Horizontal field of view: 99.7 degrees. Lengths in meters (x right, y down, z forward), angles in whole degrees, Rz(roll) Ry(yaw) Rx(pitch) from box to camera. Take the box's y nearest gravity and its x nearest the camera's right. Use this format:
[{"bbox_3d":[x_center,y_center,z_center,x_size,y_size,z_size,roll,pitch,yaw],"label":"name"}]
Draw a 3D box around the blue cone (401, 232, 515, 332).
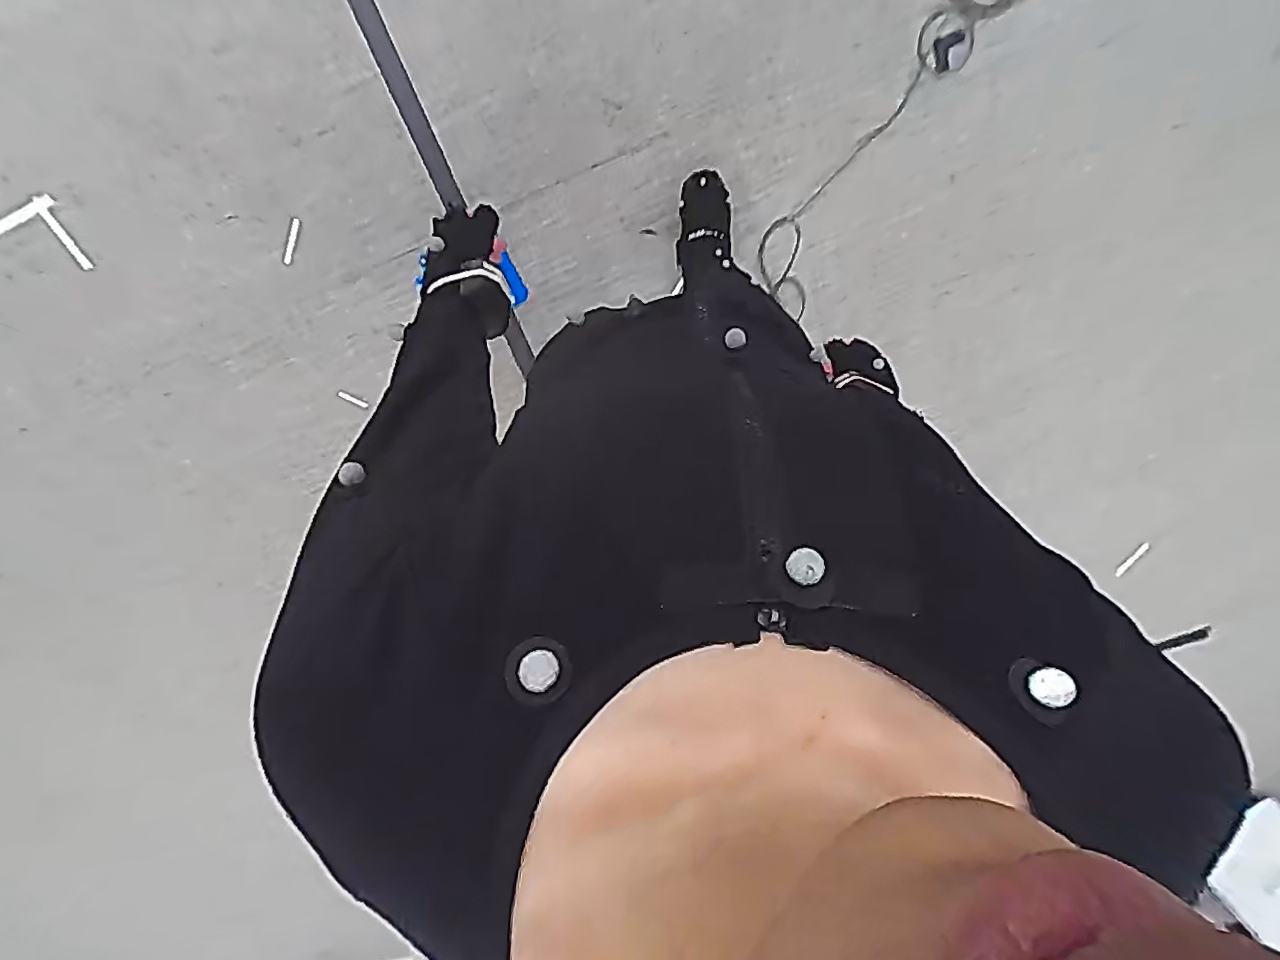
[{"bbox_3d":[-0.410,-0.411,1.145,0.192,0.380,0.193,-23,112,8],"label":"blue cone"}]
